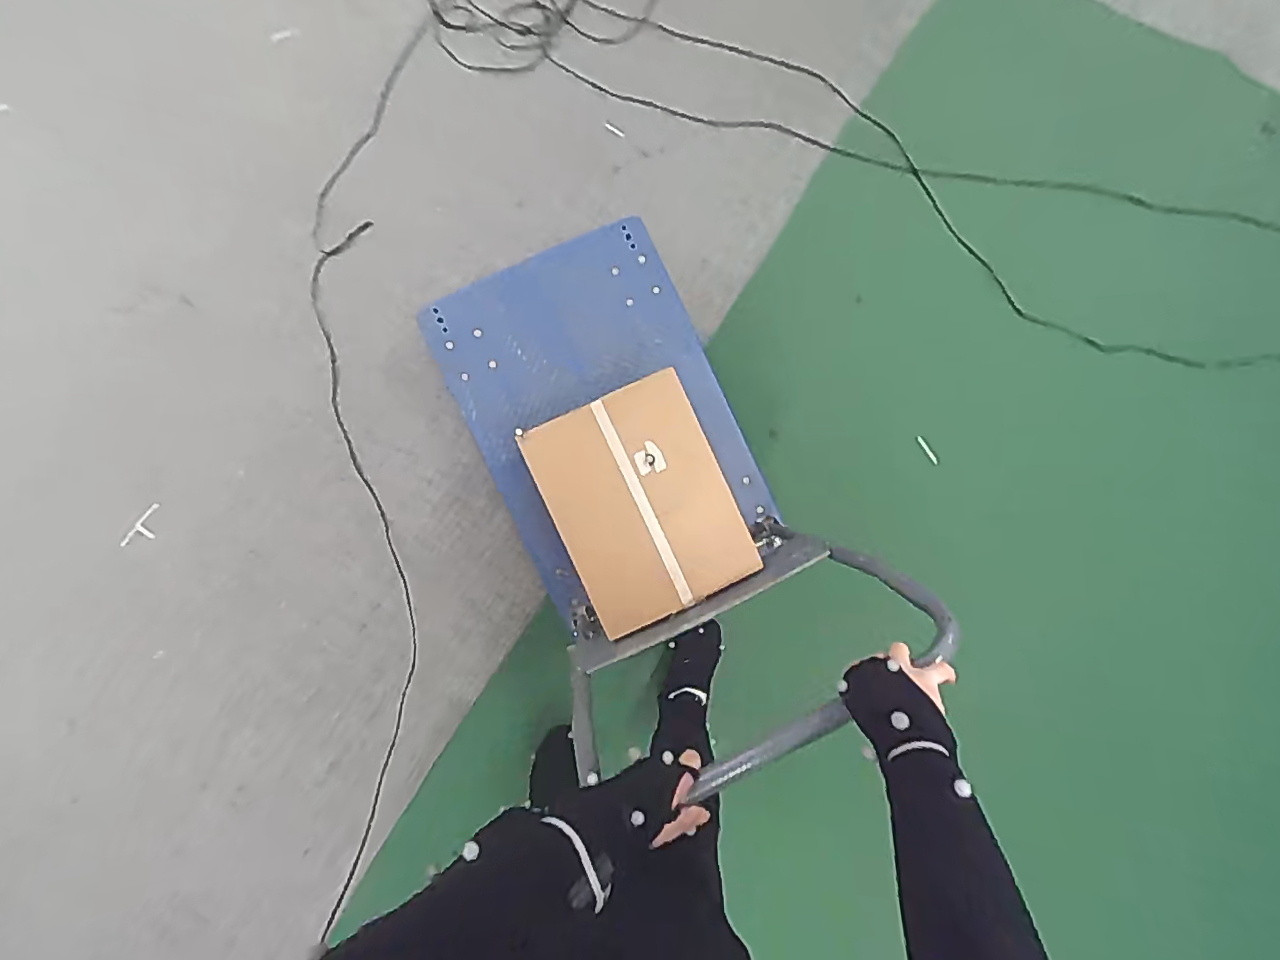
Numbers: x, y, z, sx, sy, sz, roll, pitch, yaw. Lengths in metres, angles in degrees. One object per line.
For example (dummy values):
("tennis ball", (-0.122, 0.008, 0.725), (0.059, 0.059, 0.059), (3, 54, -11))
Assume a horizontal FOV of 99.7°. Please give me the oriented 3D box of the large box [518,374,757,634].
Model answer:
("large box", (-0.009, 0.047, 1.144), (0.320, 0.320, 0.408), (-26, 90, -4))
